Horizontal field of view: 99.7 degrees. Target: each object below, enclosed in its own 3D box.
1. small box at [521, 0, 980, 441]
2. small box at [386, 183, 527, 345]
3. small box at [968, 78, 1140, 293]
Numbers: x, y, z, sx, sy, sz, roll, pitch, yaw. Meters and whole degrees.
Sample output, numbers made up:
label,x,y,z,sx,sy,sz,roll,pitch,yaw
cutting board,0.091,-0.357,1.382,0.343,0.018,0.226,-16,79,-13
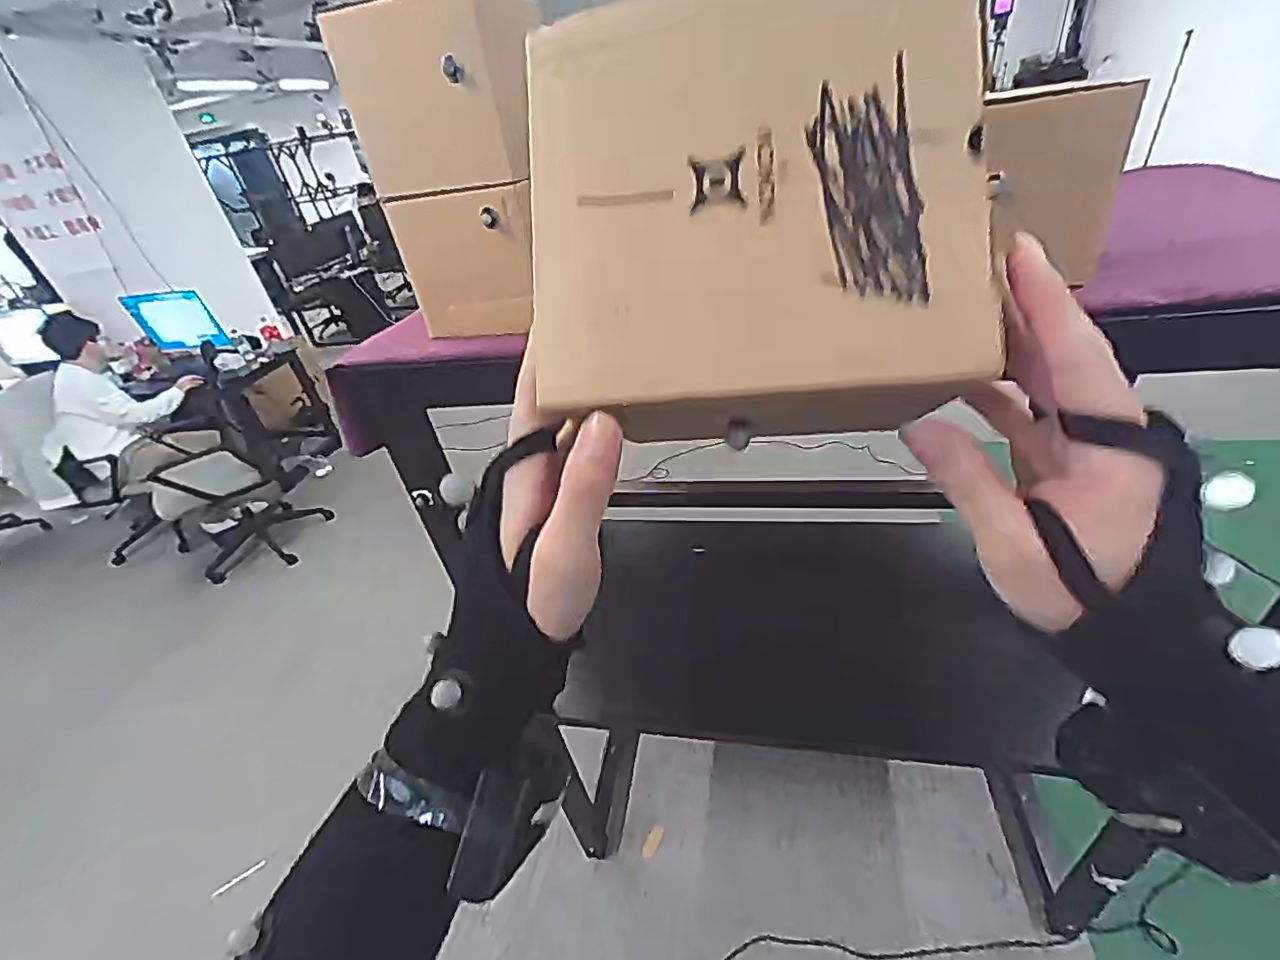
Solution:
label,x,y,z,sx,sy,sz,roll,pitch,yaw
small box,0.055,-0.113,0.289,0.179,0.168,0.176,-3,-3,17
small box,-0.186,-0.286,0.714,0.179,0.176,0.168,1,35,15
small box,0.361,-0.300,0.569,0.179,0.176,0.168,0,35,18
